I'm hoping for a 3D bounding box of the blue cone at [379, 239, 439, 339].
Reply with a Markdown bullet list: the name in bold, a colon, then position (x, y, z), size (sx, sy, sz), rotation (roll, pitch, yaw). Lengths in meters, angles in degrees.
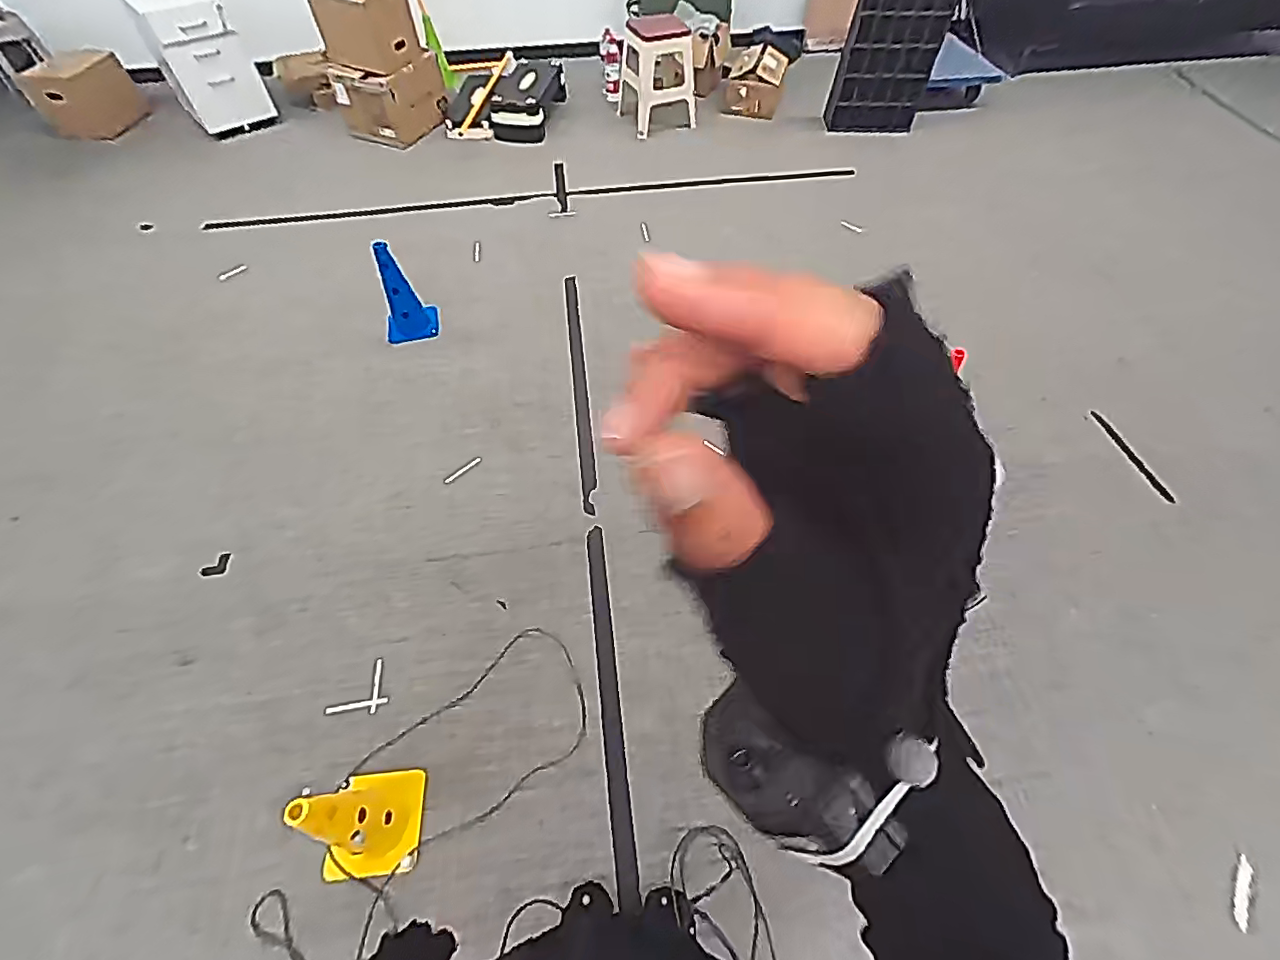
- **blue cone**: position (-0.925, -0.744, 2.083), size (0.192, 0.380, 0.193), rotation (-11, 56, -7)
